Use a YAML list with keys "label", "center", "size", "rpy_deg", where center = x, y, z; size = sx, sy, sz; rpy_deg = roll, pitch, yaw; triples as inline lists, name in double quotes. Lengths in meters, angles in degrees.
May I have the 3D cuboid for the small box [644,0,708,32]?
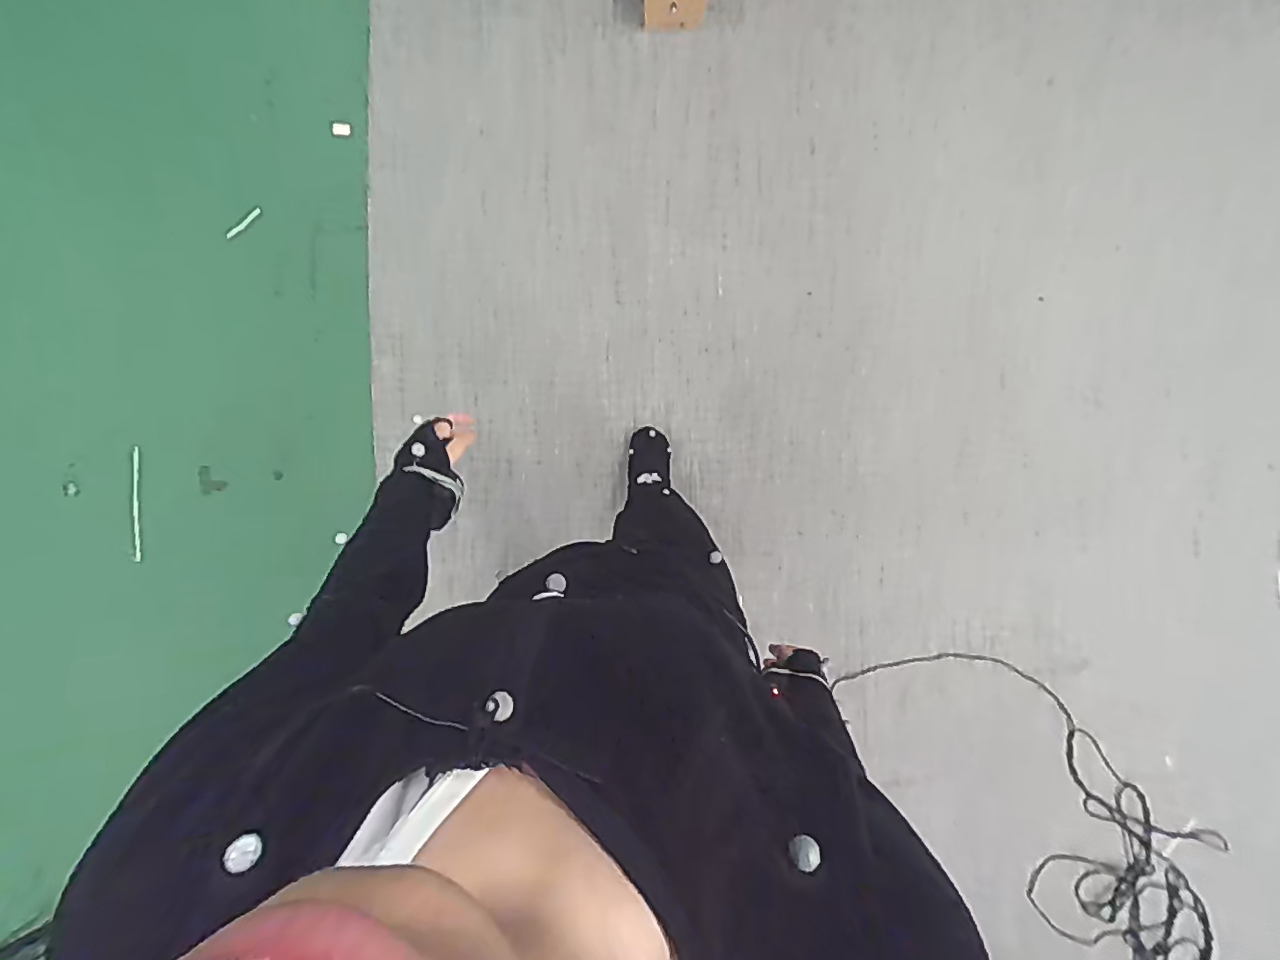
- label: "small box"
  center: [0.097, -1.330, 1.425]
  size: [0.168, 0.176, 0.179]
  rpy_deg: [0, 90, -1]
